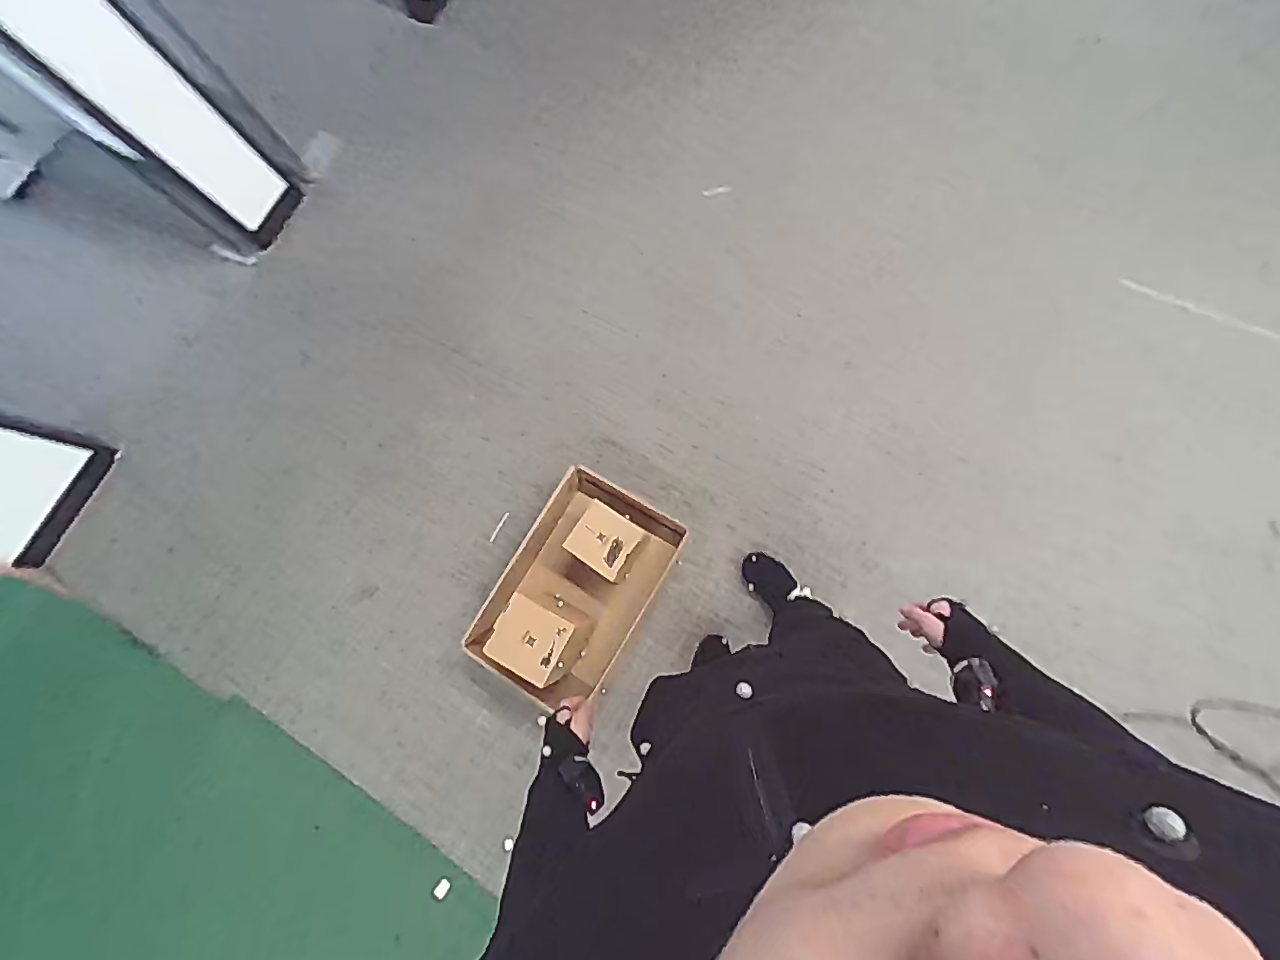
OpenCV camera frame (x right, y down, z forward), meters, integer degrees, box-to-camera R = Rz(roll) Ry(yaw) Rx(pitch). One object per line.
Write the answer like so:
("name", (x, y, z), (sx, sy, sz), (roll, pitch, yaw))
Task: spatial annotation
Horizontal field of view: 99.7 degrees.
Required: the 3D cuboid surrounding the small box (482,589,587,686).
("small box", (-0.258, 0.393, 1.366), (0.179, 0.176, 0.168), (27, 82, 12))
